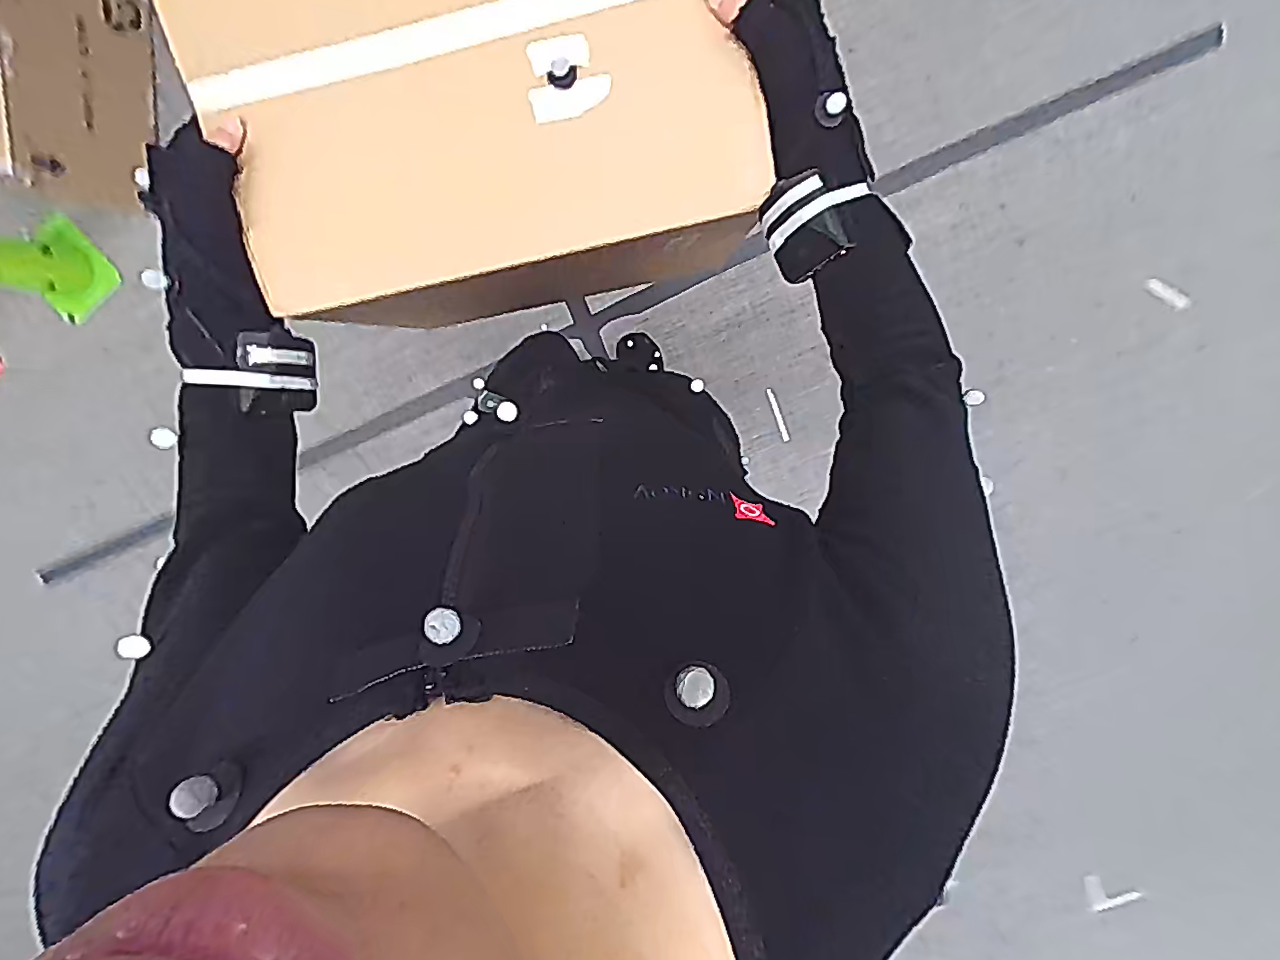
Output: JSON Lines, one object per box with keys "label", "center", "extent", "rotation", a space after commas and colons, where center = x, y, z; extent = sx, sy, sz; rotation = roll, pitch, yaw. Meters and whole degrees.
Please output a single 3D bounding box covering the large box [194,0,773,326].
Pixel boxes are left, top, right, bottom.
{"label": "large box", "center": [-0.120, -0.359, 0.544], "extent": [0.408, 0.320, 0.320], "rotation": [-11, 103, 3]}
